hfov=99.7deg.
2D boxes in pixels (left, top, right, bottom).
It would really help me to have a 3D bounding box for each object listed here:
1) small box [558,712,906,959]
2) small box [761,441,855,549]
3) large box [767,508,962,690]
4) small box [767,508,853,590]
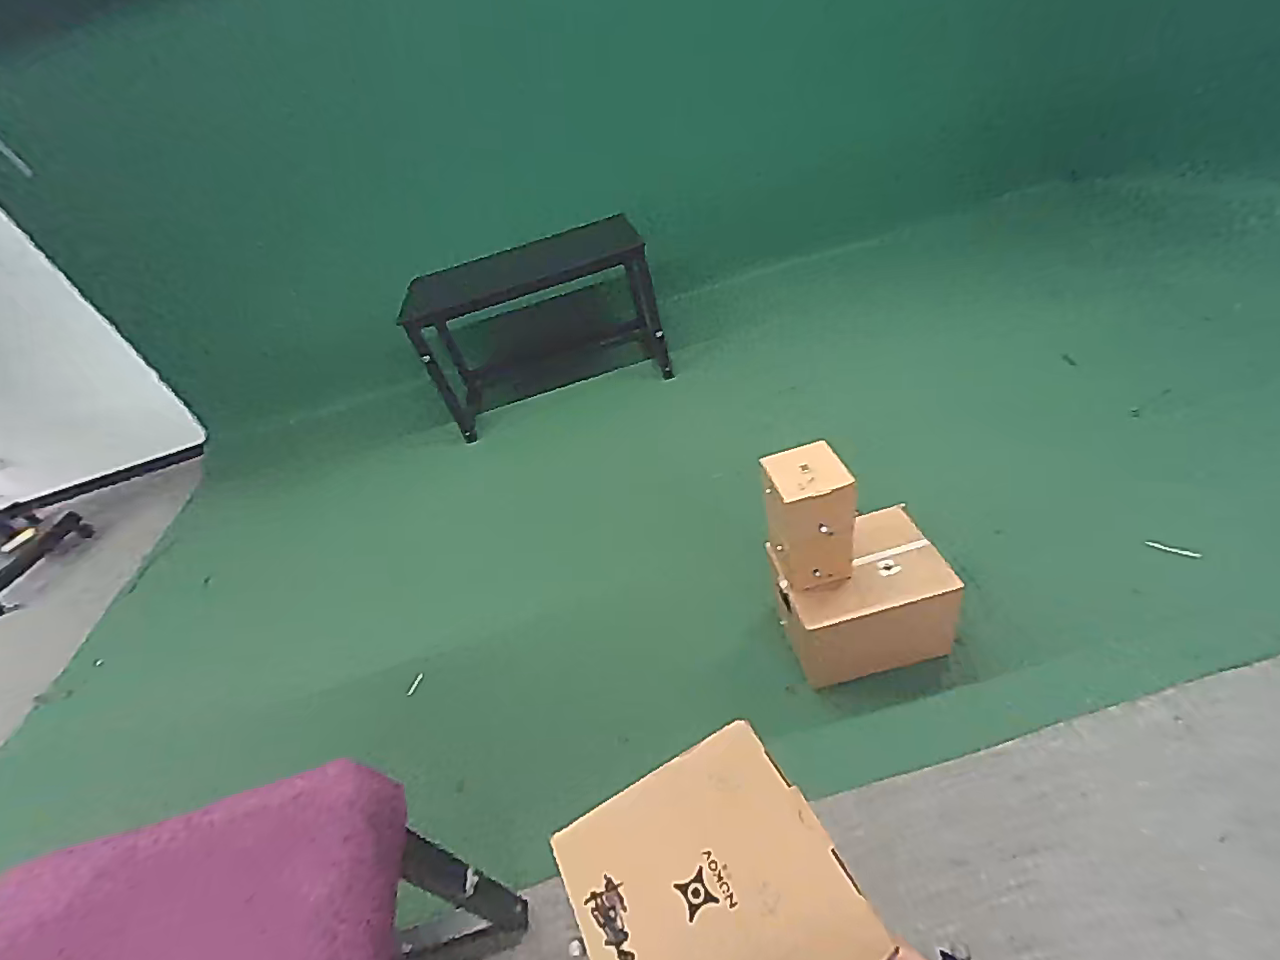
[{"bbox_3d":[0.060,0.321,0.411,0.179,0.176,0.168,-24,42,-14],"label":"small box"},{"bbox_3d":[0.406,0.036,1.317,0.168,0.176,0.179,-17,39,1],"label":"small box"},{"bbox_3d":[0.610,0.337,1.532,0.408,0.320,0.320,-16,40,2],"label":"large box"},{"bbox_3d":[0.442,0.158,1.422,0.168,0.176,0.179,-16,39,2],"label":"small box"}]
